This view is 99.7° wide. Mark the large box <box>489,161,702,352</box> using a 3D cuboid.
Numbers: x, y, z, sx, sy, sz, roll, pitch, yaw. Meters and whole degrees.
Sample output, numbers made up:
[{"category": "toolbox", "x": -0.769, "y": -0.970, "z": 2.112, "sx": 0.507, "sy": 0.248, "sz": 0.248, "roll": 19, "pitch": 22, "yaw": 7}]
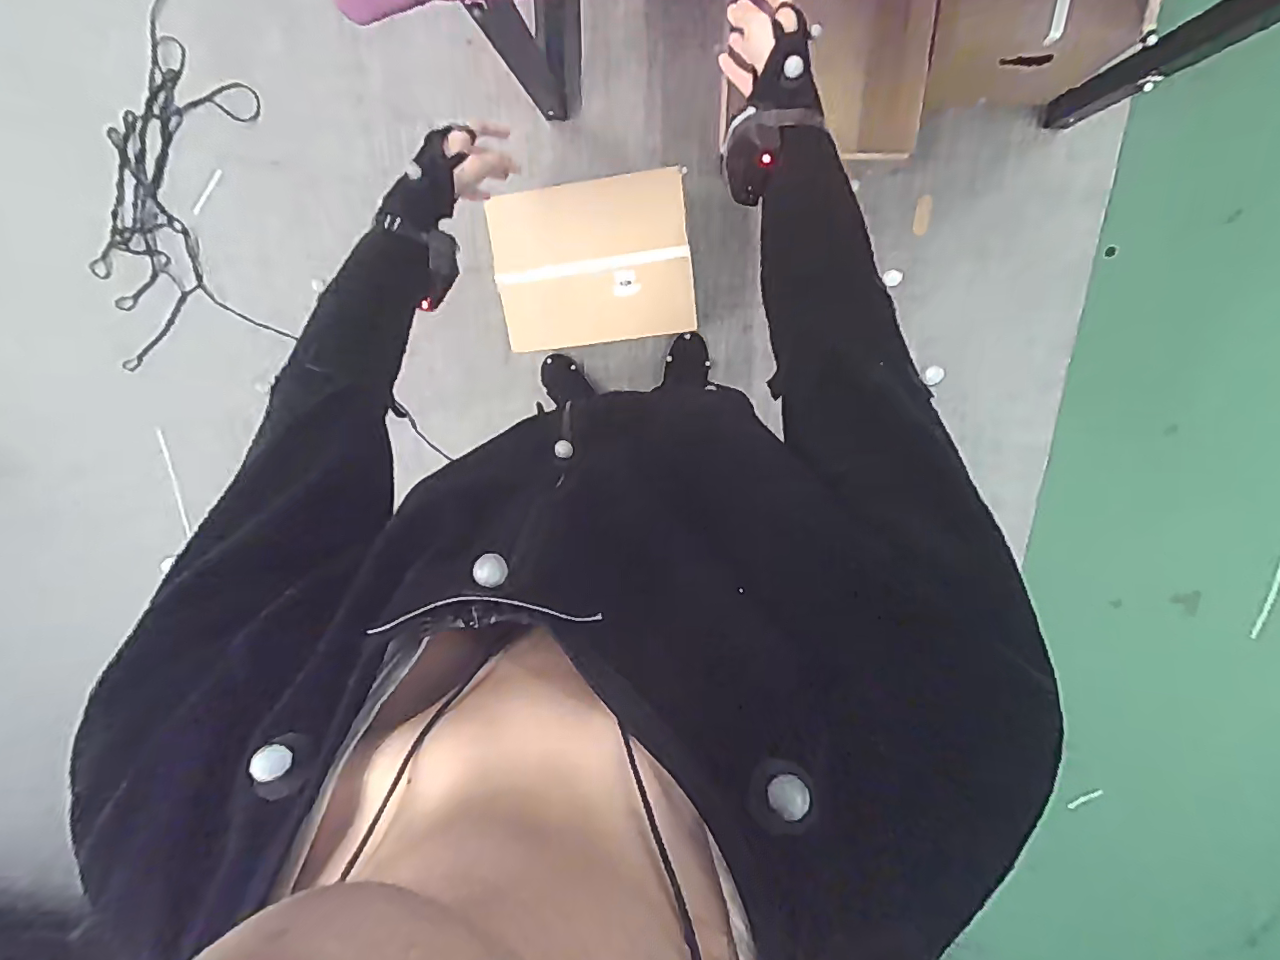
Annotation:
[{"category": "large box", "x": -0.077, "y": -0.480, "z": 1.233, "sx": 0.408, "sy": 0.320, "sz": 0.320, "roll": -6, "pitch": 106, "yaw": 6}]
